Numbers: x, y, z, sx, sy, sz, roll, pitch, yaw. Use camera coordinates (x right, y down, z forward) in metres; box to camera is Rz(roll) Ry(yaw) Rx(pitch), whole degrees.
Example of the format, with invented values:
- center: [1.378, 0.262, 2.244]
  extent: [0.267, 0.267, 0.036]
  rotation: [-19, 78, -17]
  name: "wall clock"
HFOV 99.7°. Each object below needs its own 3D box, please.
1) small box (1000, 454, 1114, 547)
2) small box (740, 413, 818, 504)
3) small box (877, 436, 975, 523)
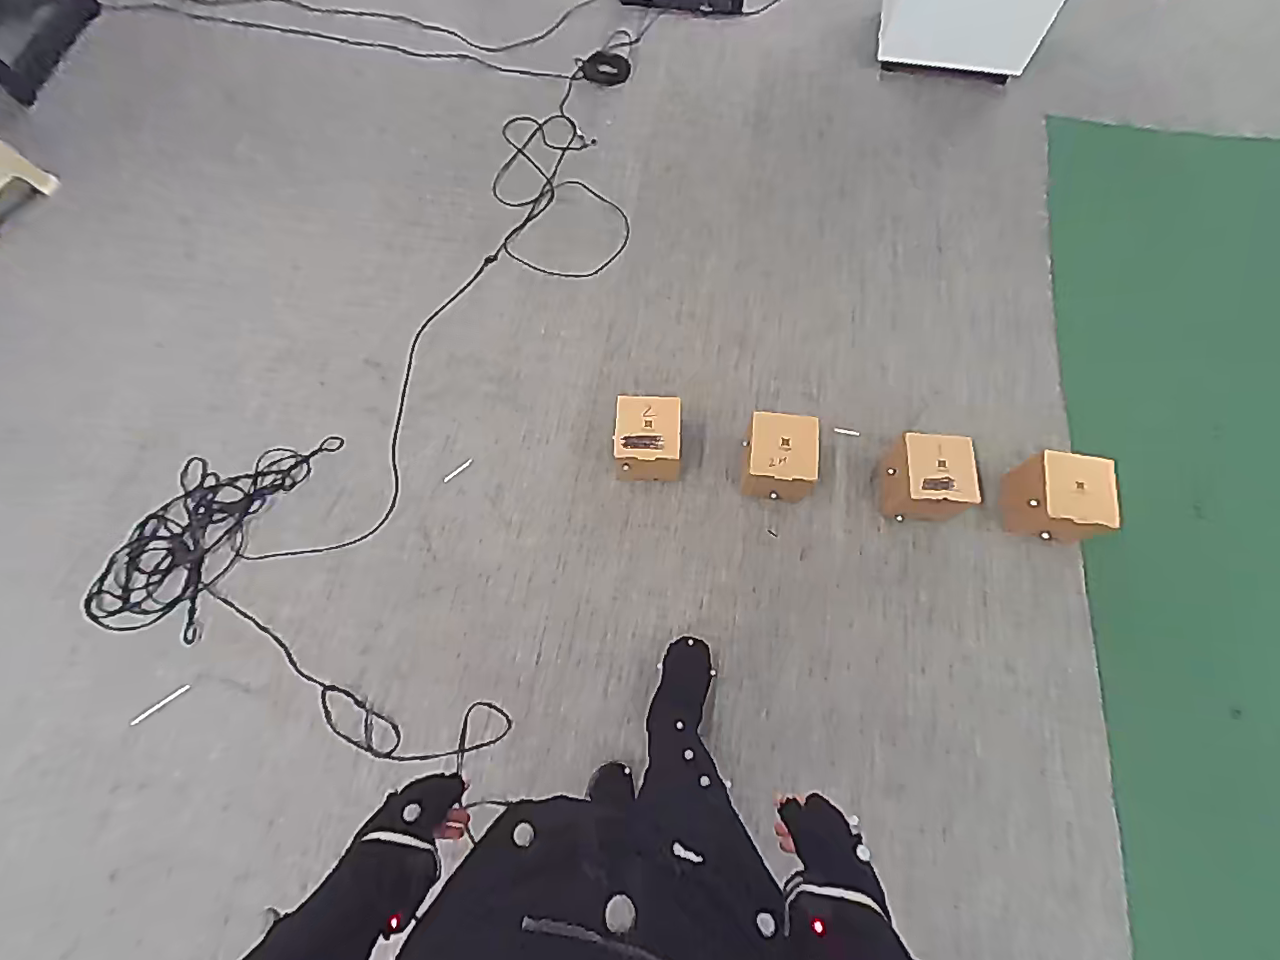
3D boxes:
- center: [1.049, 0.056, 1.376]
  extent: [0.168, 0.176, 0.179]
  rotation: [10, 70, 5]
  name: "small box"
- center: [0.359, -0.053, 1.419]
  extent: [0.168, 0.176, 0.179]
  rotation: [7, 70, 4]
  name: "small box"
- center: [0.729, 0.005, 1.397]
  extent: [0.168, 0.176, 0.179]
  rotation: [5, 69, 2]
  name: "small box"
